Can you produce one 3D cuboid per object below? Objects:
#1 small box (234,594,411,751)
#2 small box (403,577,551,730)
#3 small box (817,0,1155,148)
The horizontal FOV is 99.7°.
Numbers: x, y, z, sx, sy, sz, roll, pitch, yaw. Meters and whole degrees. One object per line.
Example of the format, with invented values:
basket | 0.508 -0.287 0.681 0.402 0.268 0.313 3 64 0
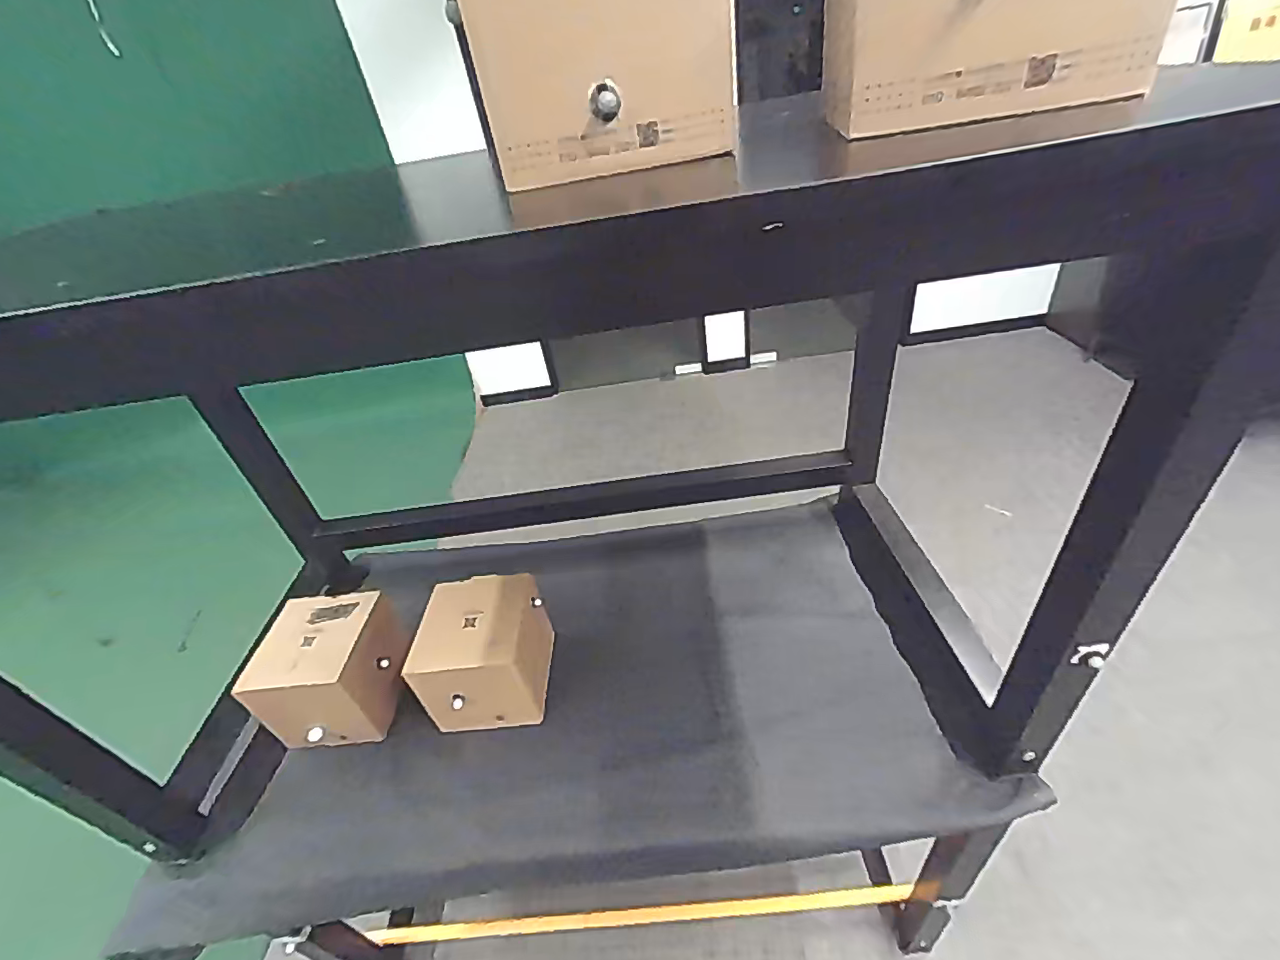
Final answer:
small box | -0.500 0.316 0.891 0.168 0.176 0.179 -7 37 4
small box | -0.249 0.285 0.878 0.168 0.176 0.179 -7 36 4
small box | 0.211 -0.329 0.353 0.168 0.176 0.179 -1 37 12
